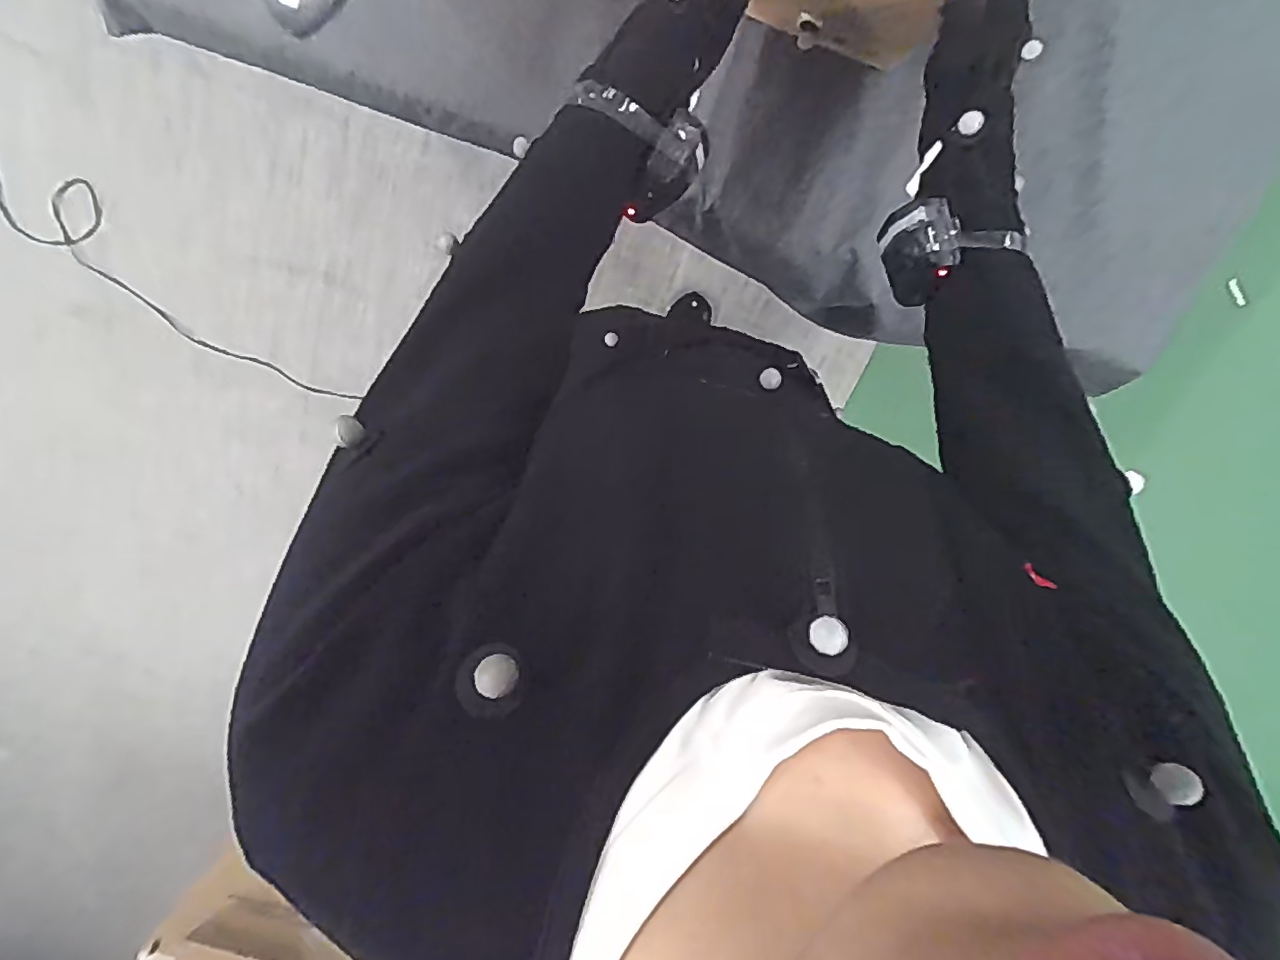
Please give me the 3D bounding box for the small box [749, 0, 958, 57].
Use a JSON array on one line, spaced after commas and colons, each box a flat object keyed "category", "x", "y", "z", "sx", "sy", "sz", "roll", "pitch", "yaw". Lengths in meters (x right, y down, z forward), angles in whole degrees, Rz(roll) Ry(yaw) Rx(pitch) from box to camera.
[{"category": "small box", "x": 0.192, "y": -0.486, "z": 0.429, "sx": 0.168, "sy": 0.176, "sz": 0.179, "roll": 17, "pitch": 114, "yaw": -3}]
